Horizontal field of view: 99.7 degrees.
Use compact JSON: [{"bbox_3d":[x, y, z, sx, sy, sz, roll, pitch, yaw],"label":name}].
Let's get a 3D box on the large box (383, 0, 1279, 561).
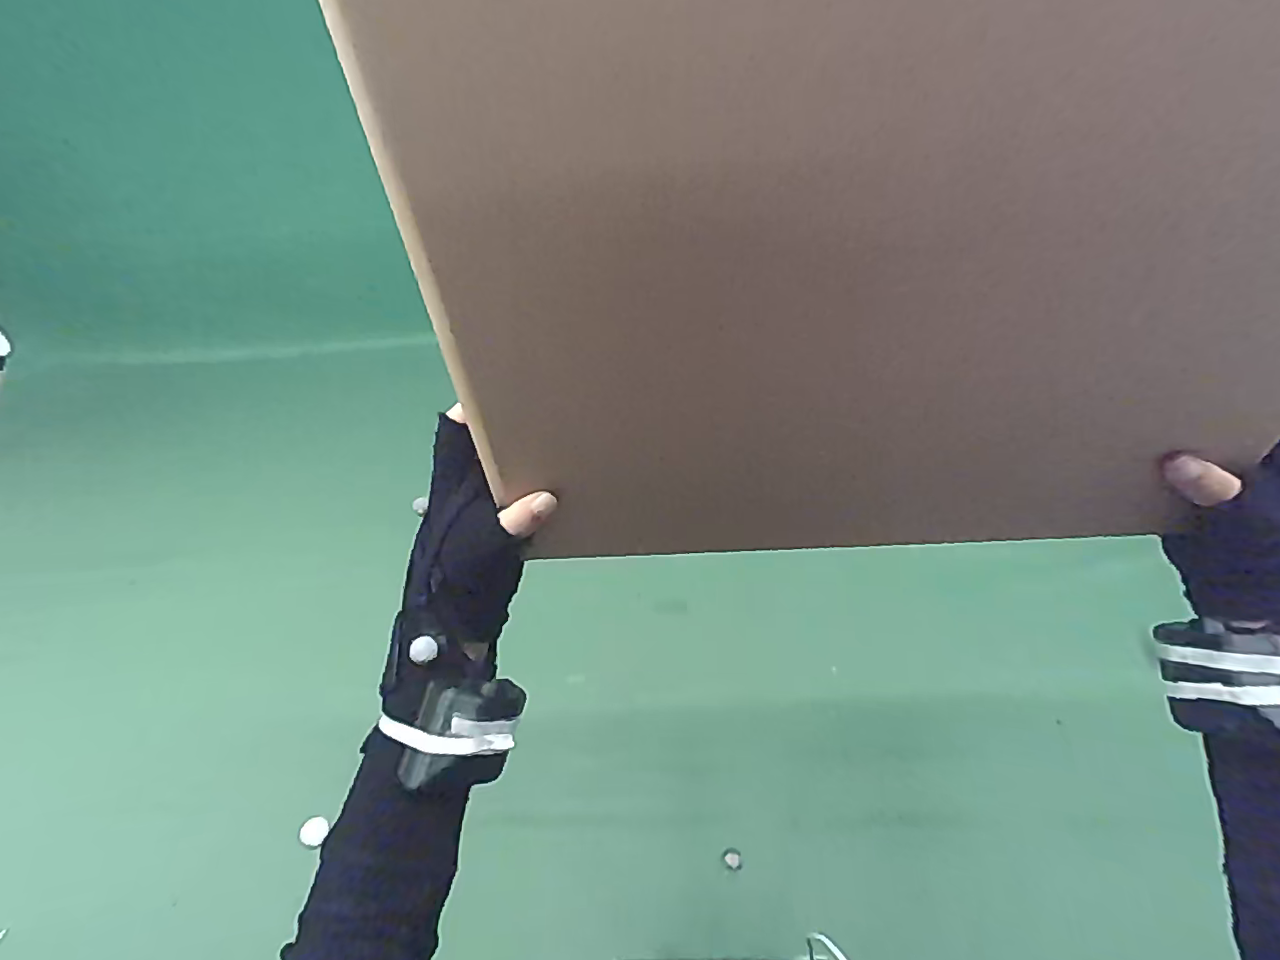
[{"bbox_3d":[0.119,-0.168,0.343,0.408,0.320,0.320,-2,41,2],"label":"large box"}]
